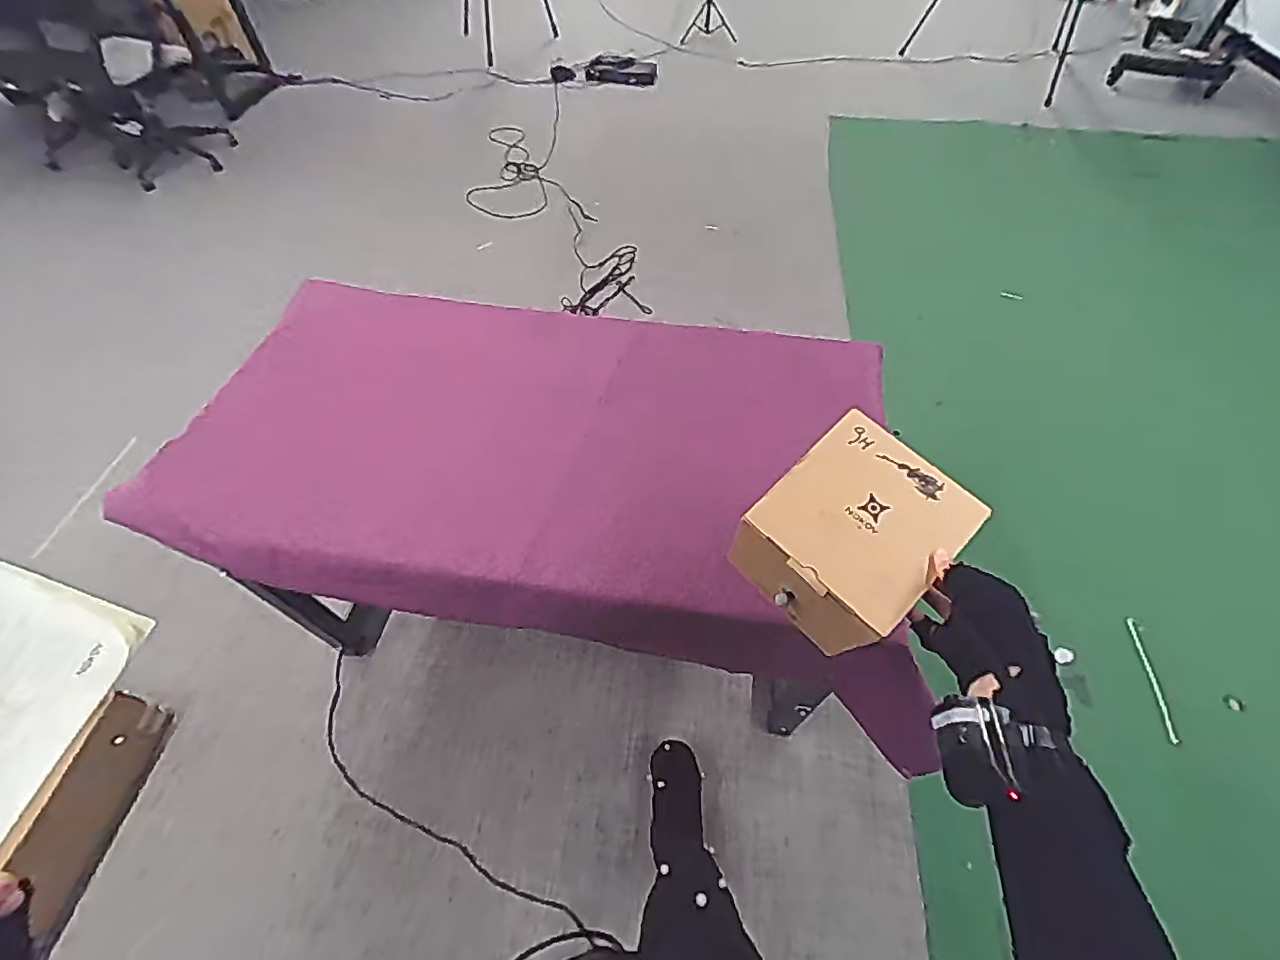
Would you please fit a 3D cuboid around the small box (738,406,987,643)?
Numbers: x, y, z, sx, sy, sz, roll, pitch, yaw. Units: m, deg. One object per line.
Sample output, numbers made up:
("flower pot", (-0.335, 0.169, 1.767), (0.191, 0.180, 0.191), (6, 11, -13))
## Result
("small box", (0.224, 0.059, 0.599), (0.179, 0.176, 0.168), (-43, 72, -12))
